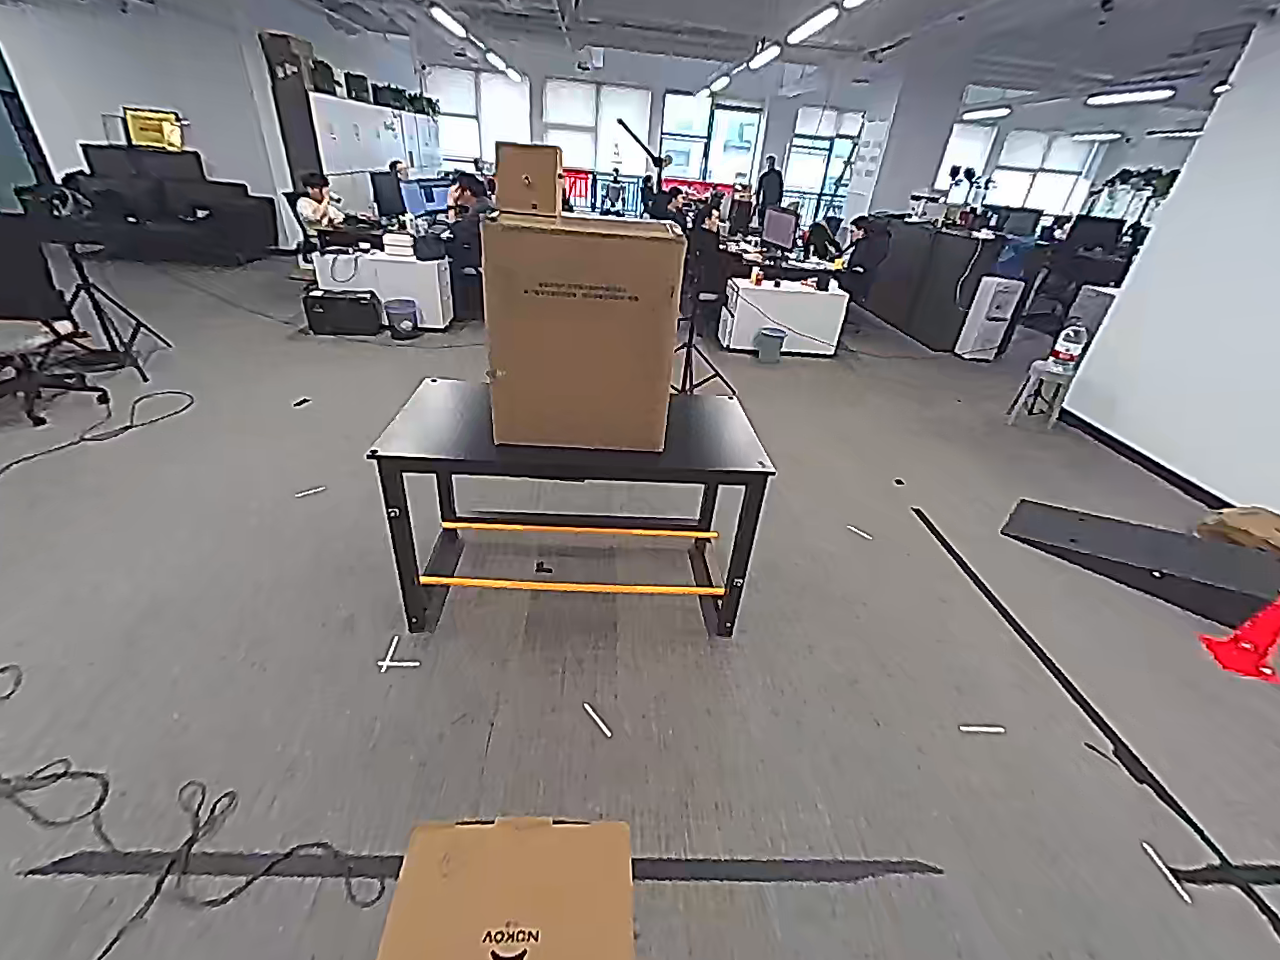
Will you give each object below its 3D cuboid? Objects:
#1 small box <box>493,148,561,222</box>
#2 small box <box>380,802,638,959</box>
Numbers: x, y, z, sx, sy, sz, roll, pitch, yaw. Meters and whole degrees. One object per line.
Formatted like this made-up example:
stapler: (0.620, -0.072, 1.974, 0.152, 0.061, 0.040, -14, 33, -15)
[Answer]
small box: (-0.312, -0.831, 1.525, 0.168, 0.176, 0.179, 3, 29, -5)
small box: (-0.093, 0.370, 0.397, 0.168, 0.176, 0.179, 3, 32, -6)
